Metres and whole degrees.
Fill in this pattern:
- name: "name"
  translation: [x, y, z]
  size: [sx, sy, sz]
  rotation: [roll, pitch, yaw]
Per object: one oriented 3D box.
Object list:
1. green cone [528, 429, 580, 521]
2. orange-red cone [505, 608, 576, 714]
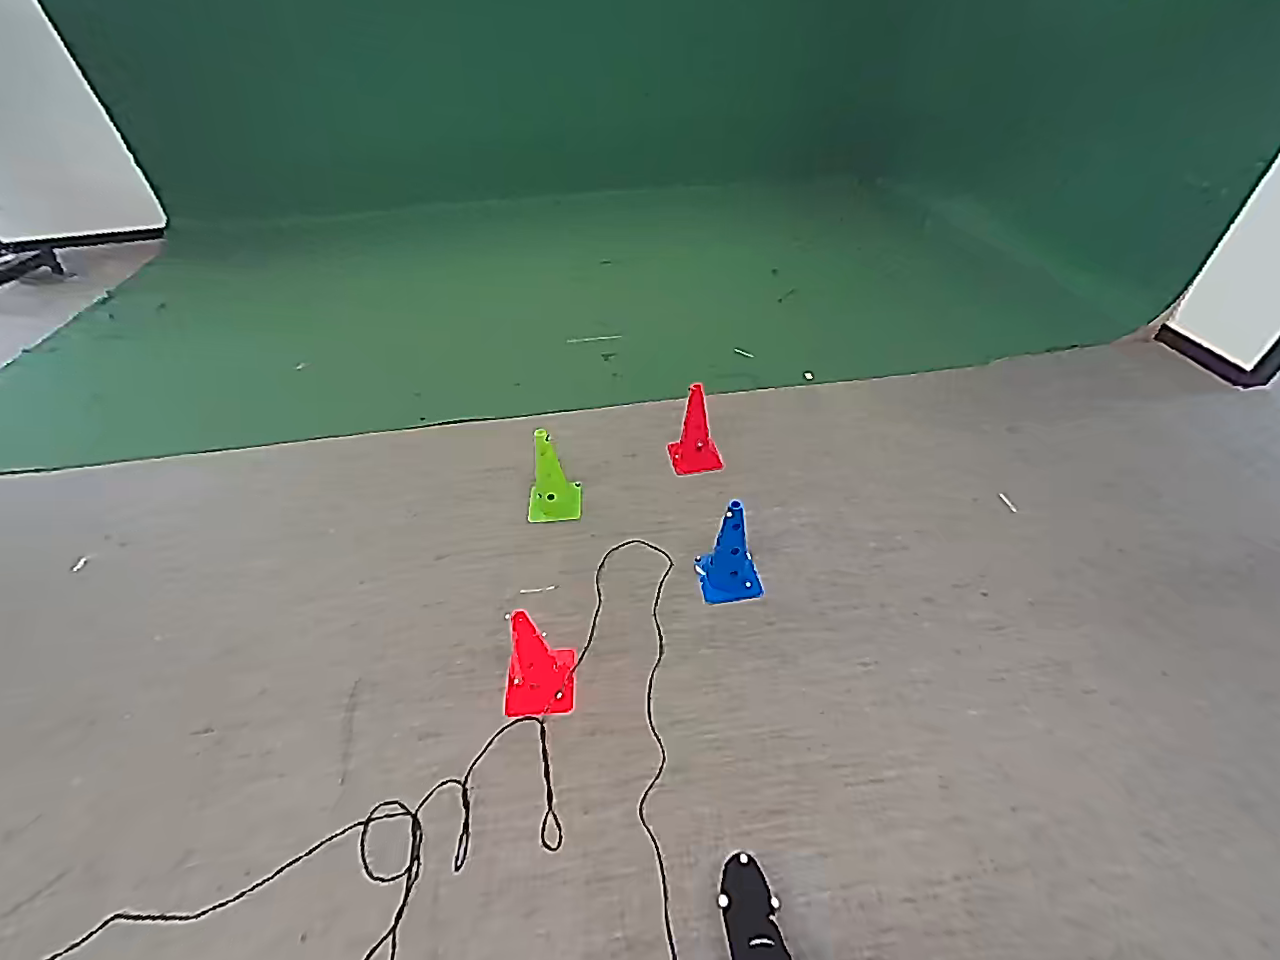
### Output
- name: "green cone"
  translation: [-0.343, -0.042, 1.998]
  size: [0.200, 0.368, 0.202]
  rotation: [-6, 45, -1]
- name: "orange-red cone"
  translation: [-0.294, 0.463, 1.471]
  size: [0.198, 0.360, 0.199]
  rotation: [-3, 42, -1]
